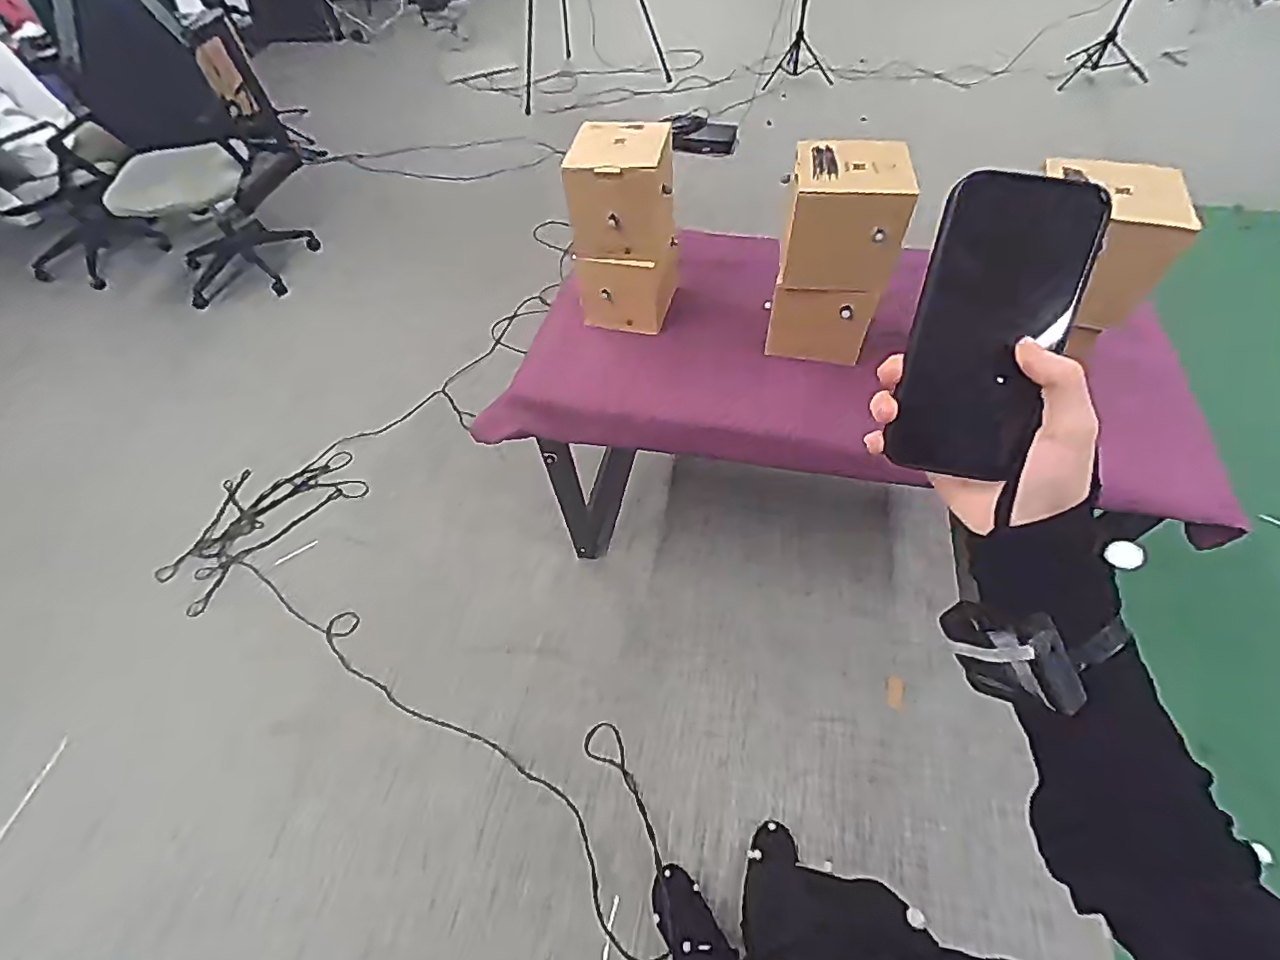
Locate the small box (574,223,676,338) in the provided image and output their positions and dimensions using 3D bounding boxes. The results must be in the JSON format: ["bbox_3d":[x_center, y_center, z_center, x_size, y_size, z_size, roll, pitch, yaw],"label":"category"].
[{"bbox_3d":[-0.020,-0.420,1.134,0.168,0.176,0.179,11,56,12],"label":"small box"}]

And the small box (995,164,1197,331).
[{"bbox_3d":[0.667,-0.349,0.820,0.179,0.176,0.168,15,57,15],"label":"small box"}]

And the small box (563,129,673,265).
[{"bbox_3d":[-0.030,-0.522,1.006,0.168,0.176,0.179,7,56,9],"label":"small box"}]

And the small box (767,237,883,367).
[{"bbox_3d":[0.351,-0.338,1.040,0.179,0.176,0.168,10,56,12],"label":"small box"}]
